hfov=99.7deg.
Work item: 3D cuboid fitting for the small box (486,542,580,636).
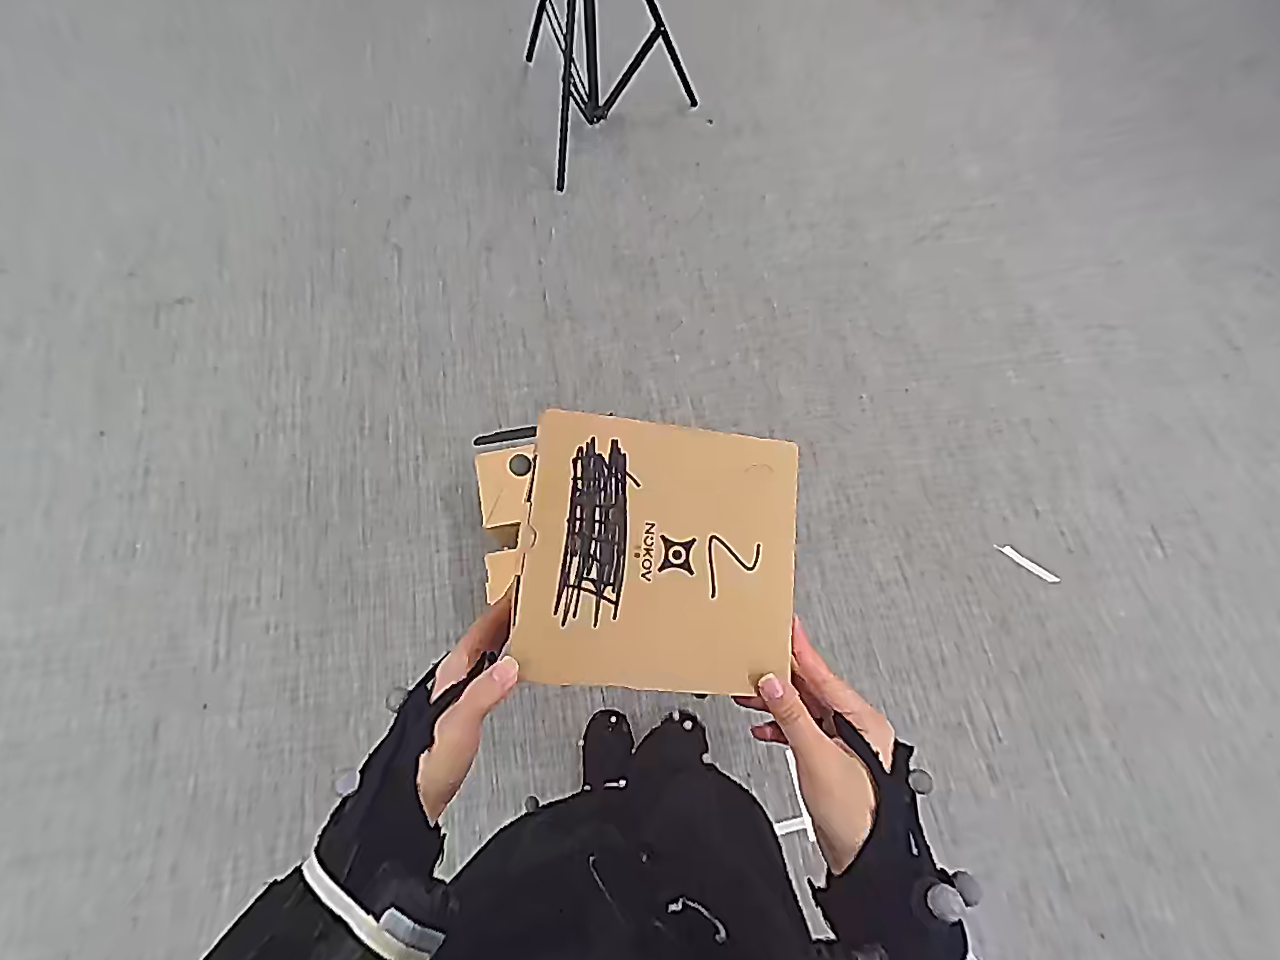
[{"bbox_3d":[-0.230,0.246,1.199,0.179,0.176,0.168,-10,71,-5],"label":"small box"}]

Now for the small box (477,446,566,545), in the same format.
[{"bbox_3d":[-0.275,0.036,1.265,0.168,0.176,0.179,-11,72,-6],"label":"small box"}]
